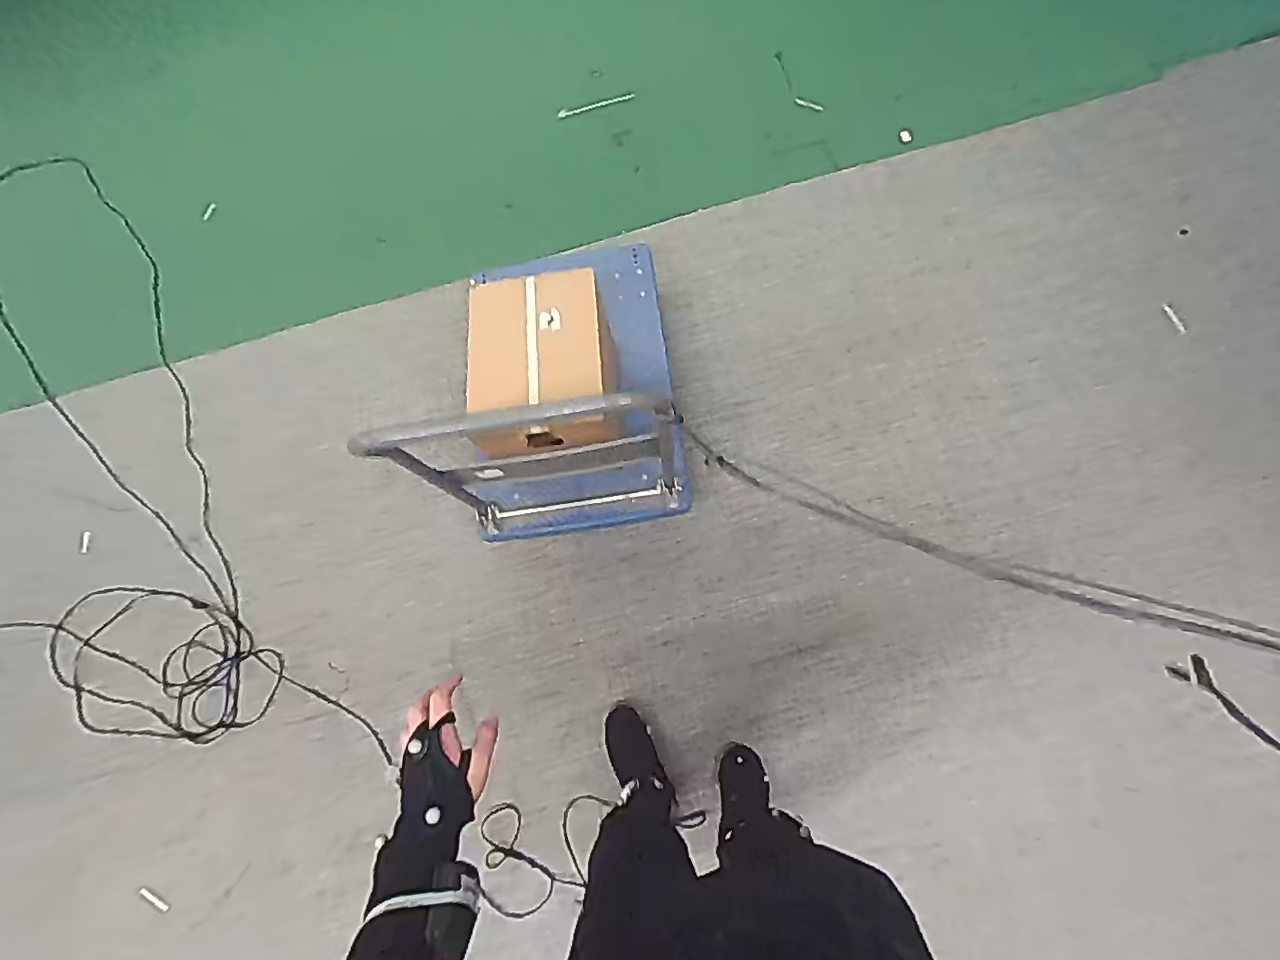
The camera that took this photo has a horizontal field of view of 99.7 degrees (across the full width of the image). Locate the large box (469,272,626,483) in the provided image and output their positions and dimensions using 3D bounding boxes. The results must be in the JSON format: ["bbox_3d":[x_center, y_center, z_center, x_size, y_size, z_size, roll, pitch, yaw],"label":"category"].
[{"bbox_3d":[-0.222,-0.242,1.370,0.320,0.320,0.408,-6,70,4],"label":"large box"}]
